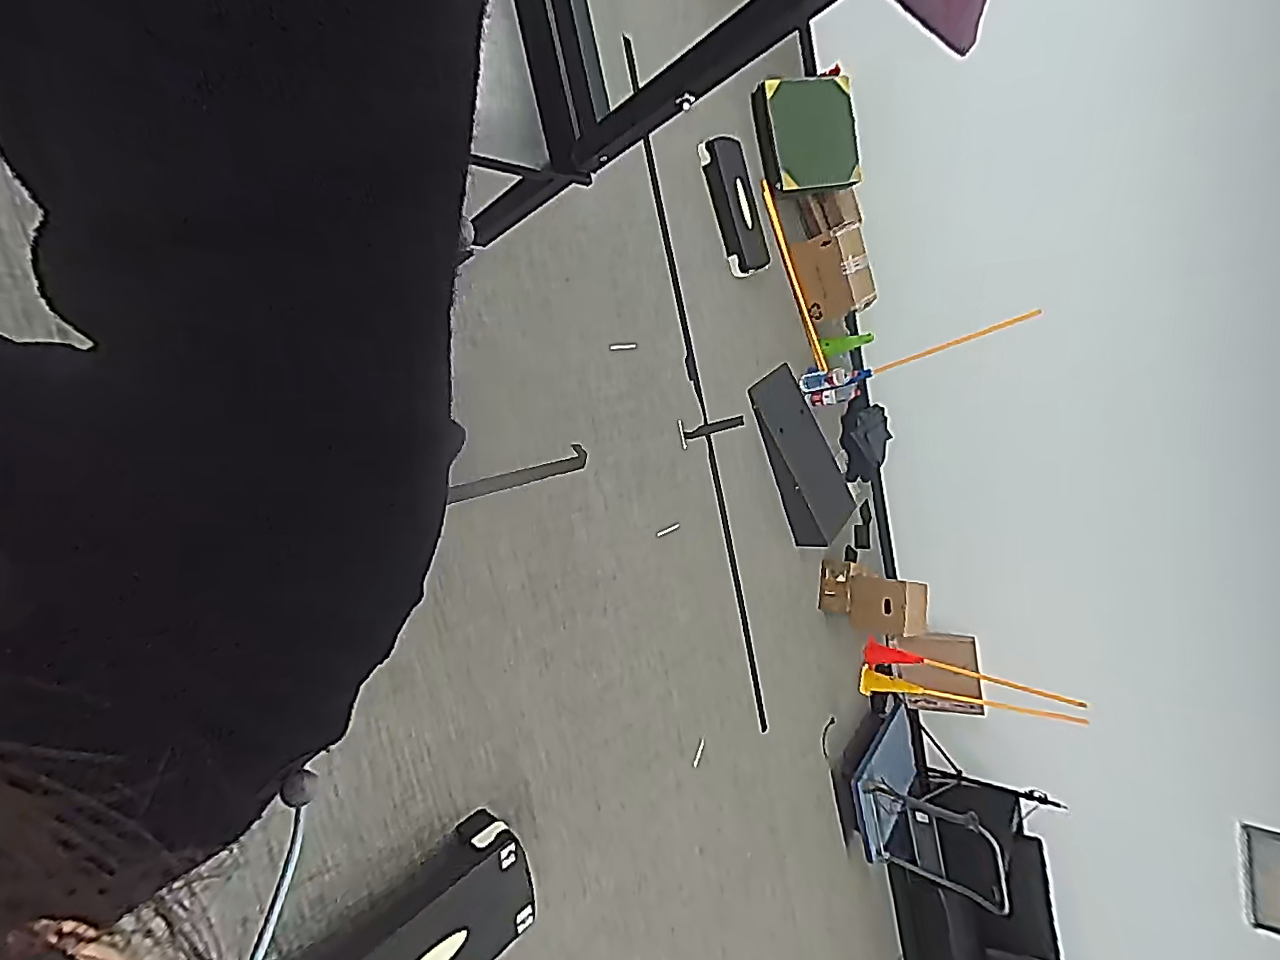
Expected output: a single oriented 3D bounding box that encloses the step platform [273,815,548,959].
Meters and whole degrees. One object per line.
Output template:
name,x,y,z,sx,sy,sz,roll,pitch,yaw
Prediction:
step platform,-0.557,1.190,1.378,0.684,0.204,0.286,-11,93,-47
